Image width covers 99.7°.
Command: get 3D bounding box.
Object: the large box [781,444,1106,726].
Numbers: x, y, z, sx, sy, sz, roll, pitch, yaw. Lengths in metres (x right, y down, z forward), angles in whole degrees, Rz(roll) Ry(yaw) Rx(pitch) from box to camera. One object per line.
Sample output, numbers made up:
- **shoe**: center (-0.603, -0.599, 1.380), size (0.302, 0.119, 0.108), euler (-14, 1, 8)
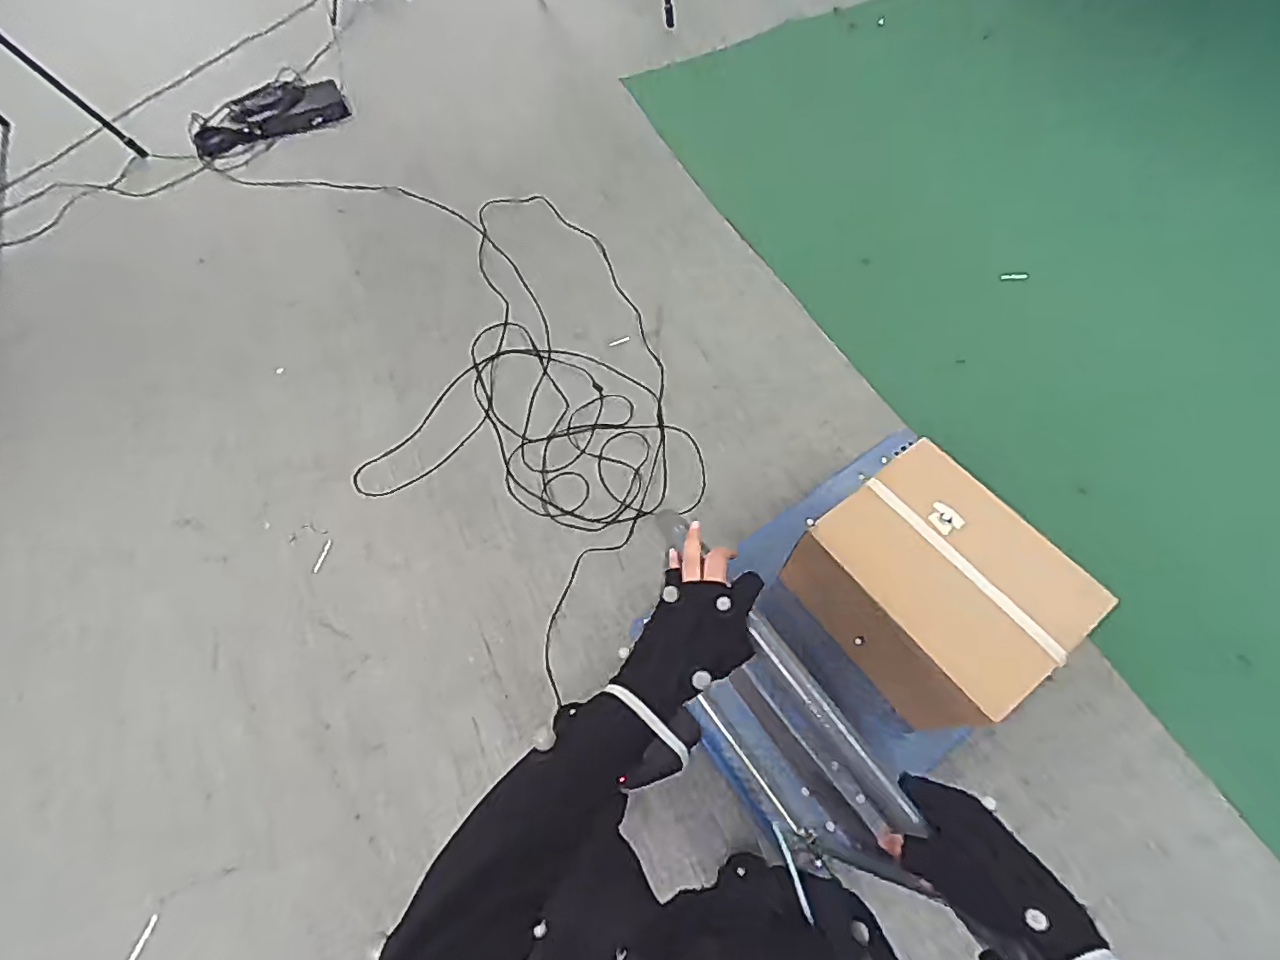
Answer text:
- **large box**: center (0.550, 0.216, 1.074), size (0.320, 0.320, 0.408), euler (-35, 66, -14)
